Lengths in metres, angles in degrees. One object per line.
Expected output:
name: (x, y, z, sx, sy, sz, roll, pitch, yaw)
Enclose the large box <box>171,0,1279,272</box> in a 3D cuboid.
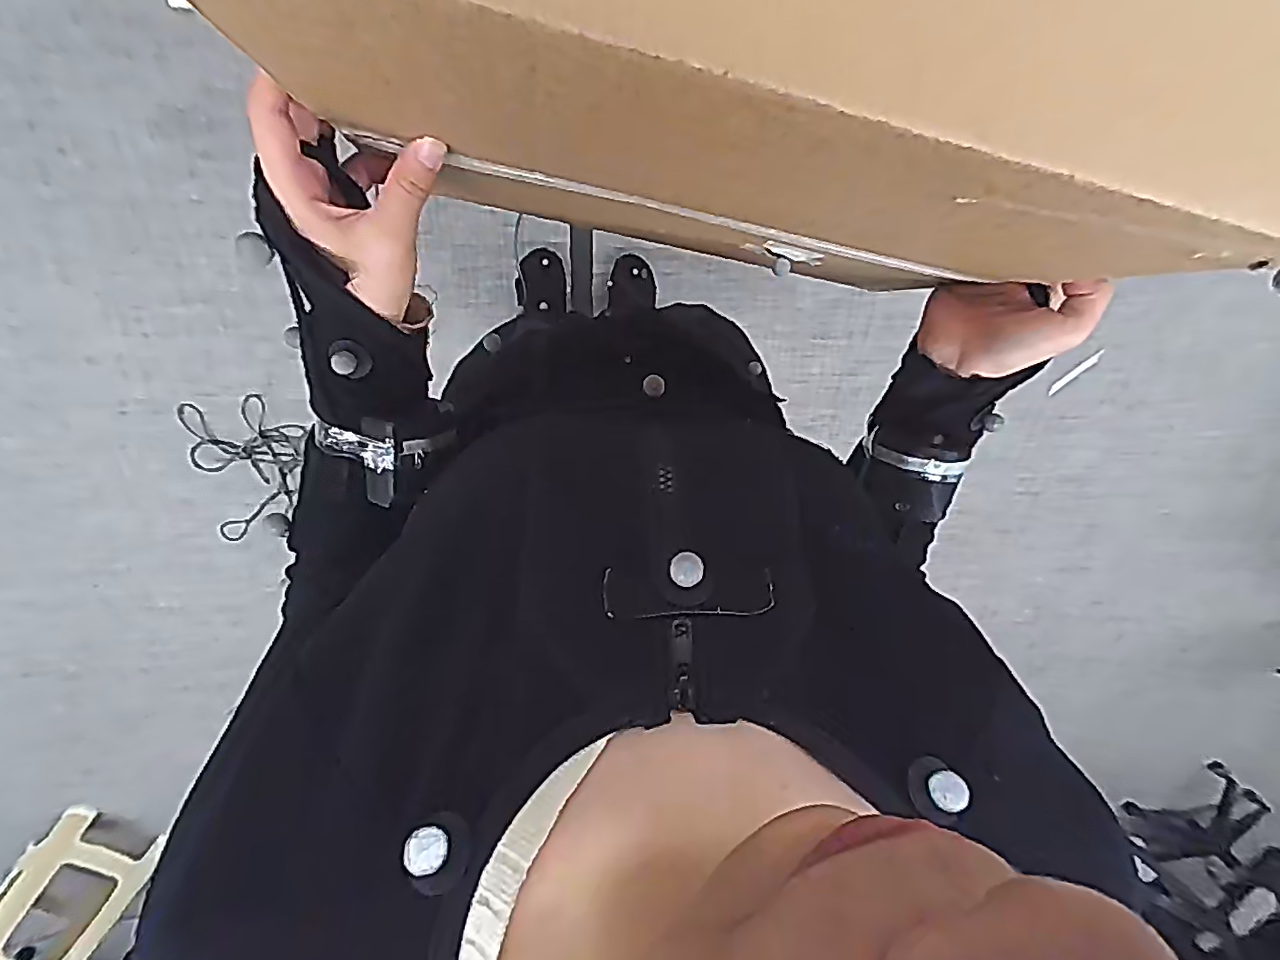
large box: (0.054, -0.302, 0.257, 0.408, 0.320, 0.320, 5, 108, -11)
